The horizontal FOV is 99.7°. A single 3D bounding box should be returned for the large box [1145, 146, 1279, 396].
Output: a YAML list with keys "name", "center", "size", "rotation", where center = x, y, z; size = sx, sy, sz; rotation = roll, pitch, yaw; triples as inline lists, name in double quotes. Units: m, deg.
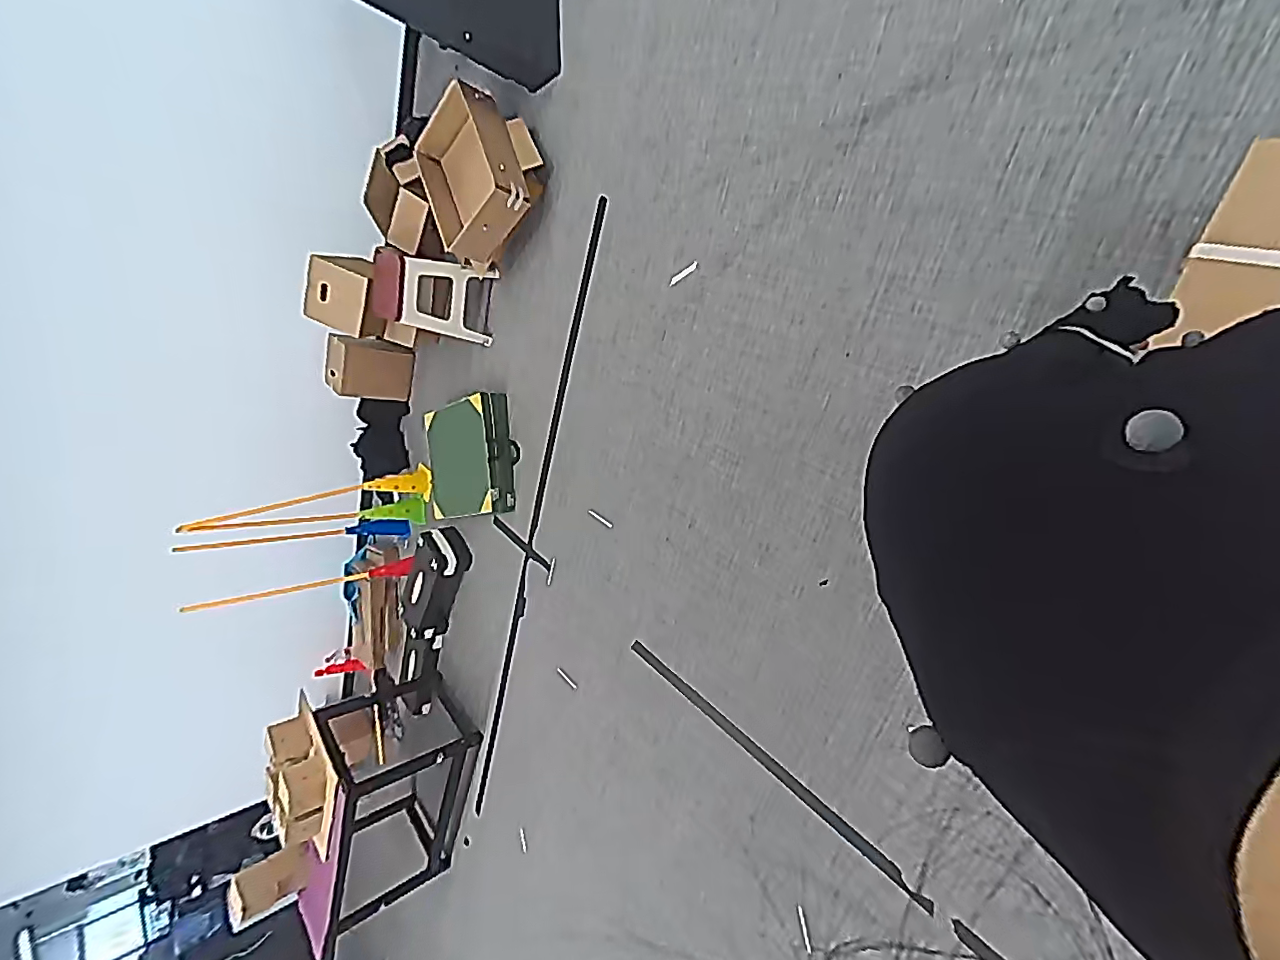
- name: "large box"
  center: [1.107, -0.287, 0.837]
  size: [0.408, 0.320, 0.320]
  rotation: [30, 114, 38]
